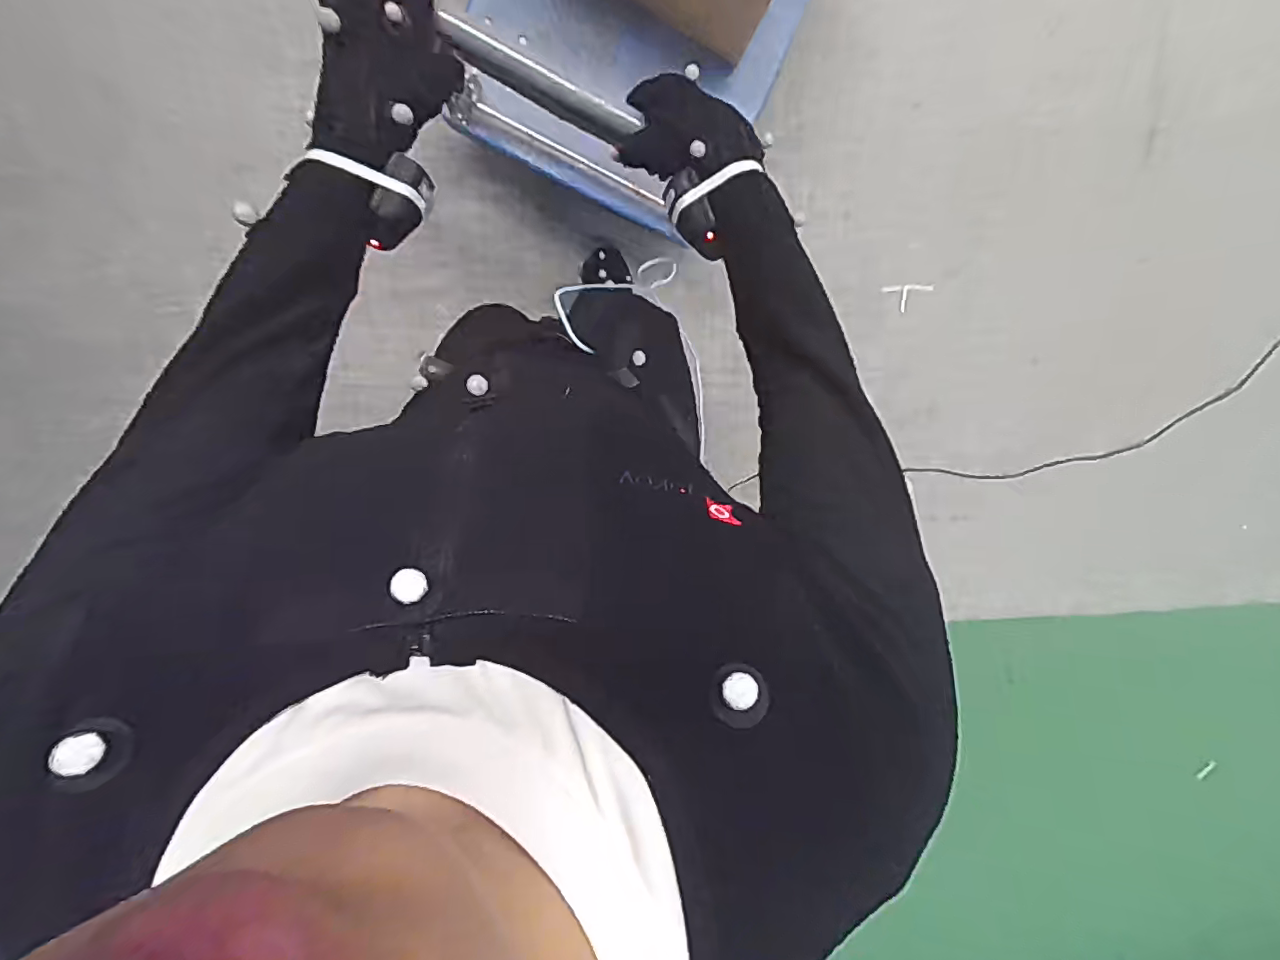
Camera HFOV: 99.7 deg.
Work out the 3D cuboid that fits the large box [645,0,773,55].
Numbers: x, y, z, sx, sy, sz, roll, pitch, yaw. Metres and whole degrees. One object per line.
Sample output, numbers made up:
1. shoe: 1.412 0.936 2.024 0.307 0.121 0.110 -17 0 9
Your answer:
1. large box: 0.089 -0.977 0.835 0.408 0.320 0.320 25 104 -9
